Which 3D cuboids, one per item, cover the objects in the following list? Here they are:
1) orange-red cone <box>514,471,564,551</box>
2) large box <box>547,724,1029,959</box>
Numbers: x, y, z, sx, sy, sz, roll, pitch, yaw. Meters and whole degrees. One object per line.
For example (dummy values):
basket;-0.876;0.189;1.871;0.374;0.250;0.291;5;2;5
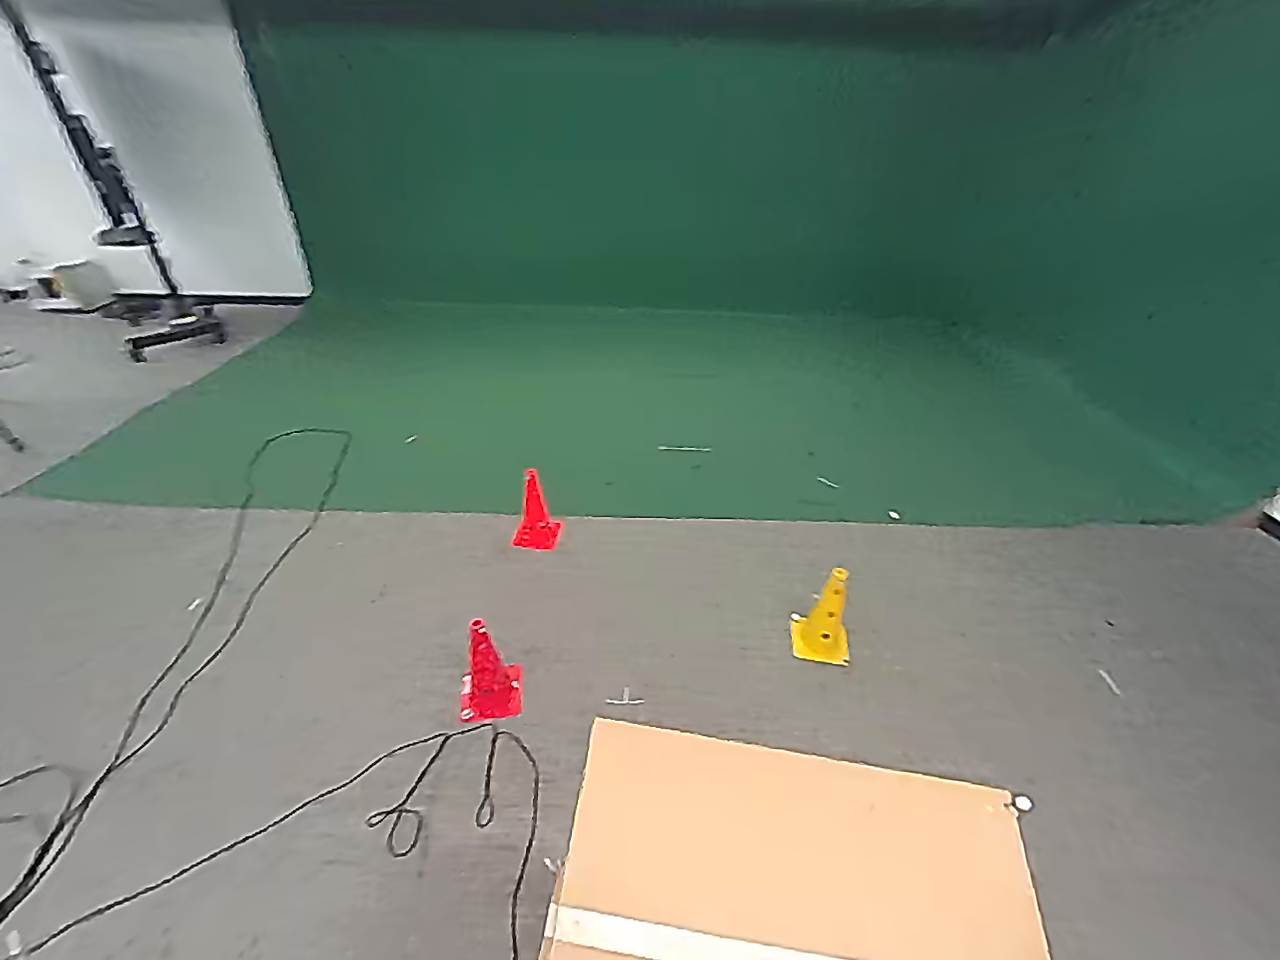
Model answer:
orange-red cone;-0.470;0.119;2.426;0.199;0.360;0.198;5;34;7
large box;0.112;0.477;0.562;0.408;0.320;0.320;9;54;1
